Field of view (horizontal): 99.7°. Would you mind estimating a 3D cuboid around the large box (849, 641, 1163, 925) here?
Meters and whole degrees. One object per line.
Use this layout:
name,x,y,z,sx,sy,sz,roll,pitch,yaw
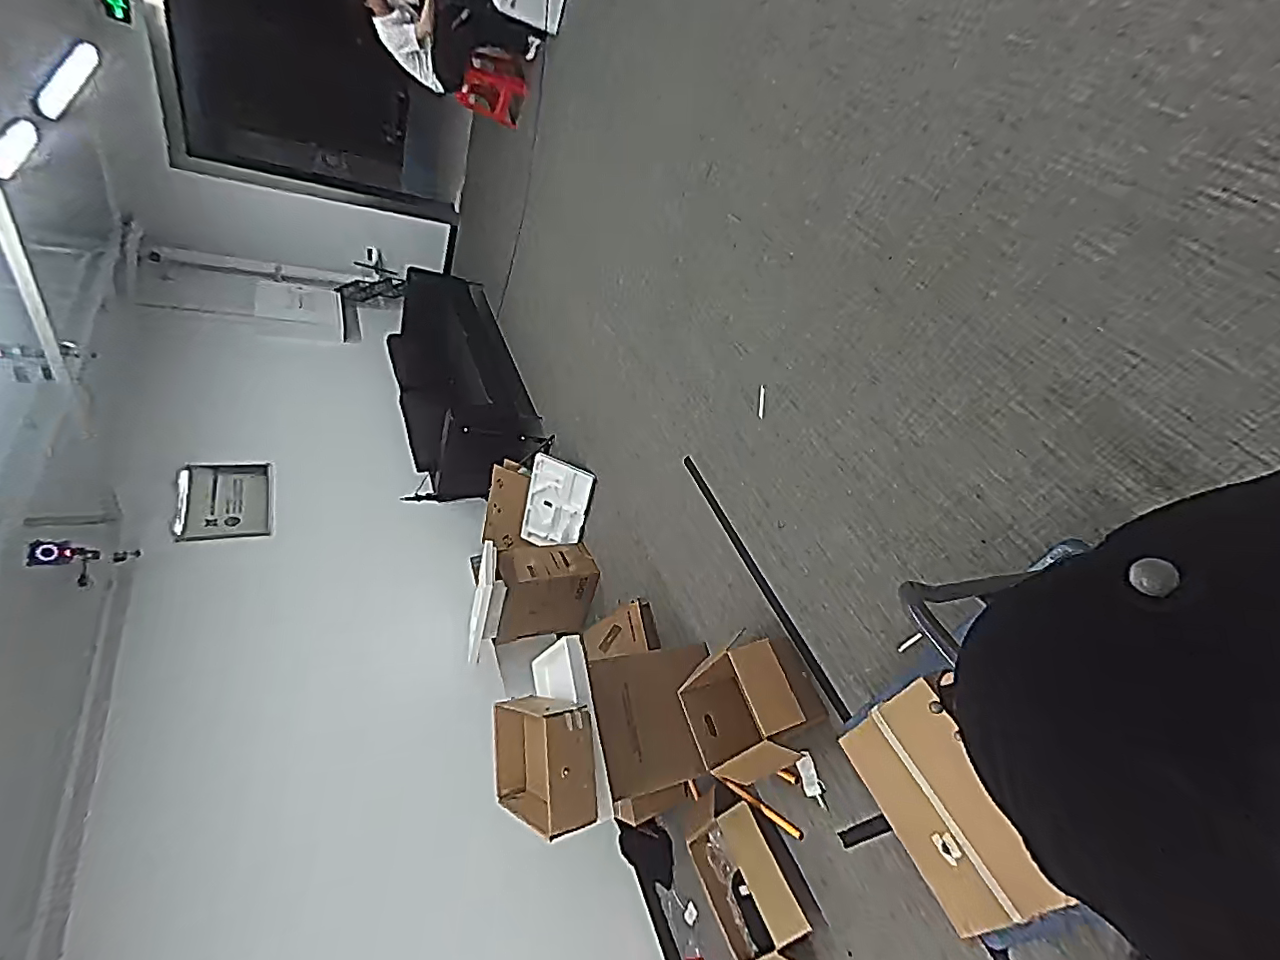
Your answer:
large box,0.757,0.624,1.169,0.408,0.320,0.320,60,139,37
